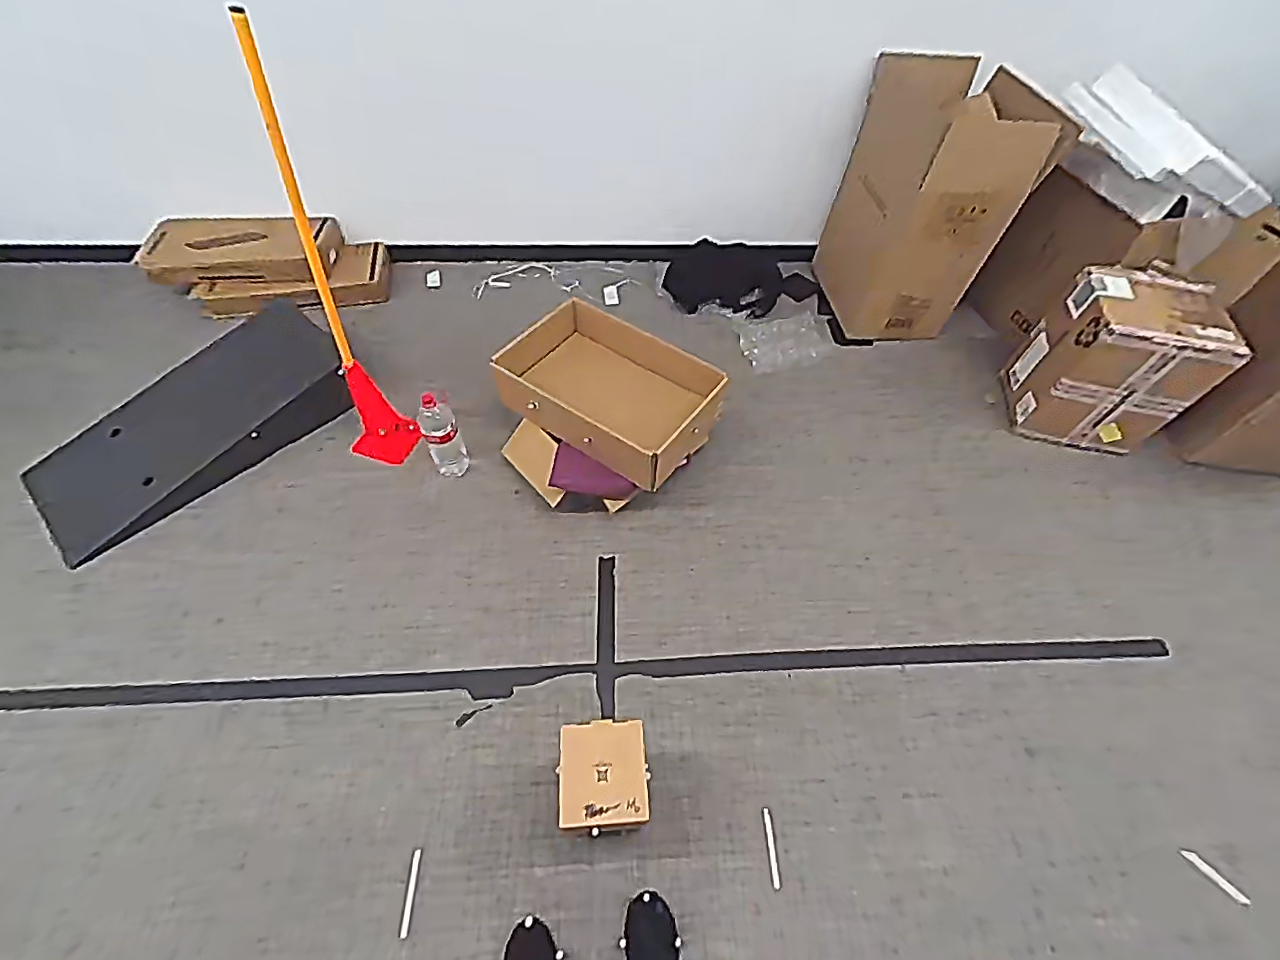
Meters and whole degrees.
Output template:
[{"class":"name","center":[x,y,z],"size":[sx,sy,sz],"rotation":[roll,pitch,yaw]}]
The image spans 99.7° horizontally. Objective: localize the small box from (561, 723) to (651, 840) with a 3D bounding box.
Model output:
[{"class":"small box","center":[-0.069,0.609,1.089],"size":[0.168,0.176,0.179],"rotation":[-3,52,-4]}]
